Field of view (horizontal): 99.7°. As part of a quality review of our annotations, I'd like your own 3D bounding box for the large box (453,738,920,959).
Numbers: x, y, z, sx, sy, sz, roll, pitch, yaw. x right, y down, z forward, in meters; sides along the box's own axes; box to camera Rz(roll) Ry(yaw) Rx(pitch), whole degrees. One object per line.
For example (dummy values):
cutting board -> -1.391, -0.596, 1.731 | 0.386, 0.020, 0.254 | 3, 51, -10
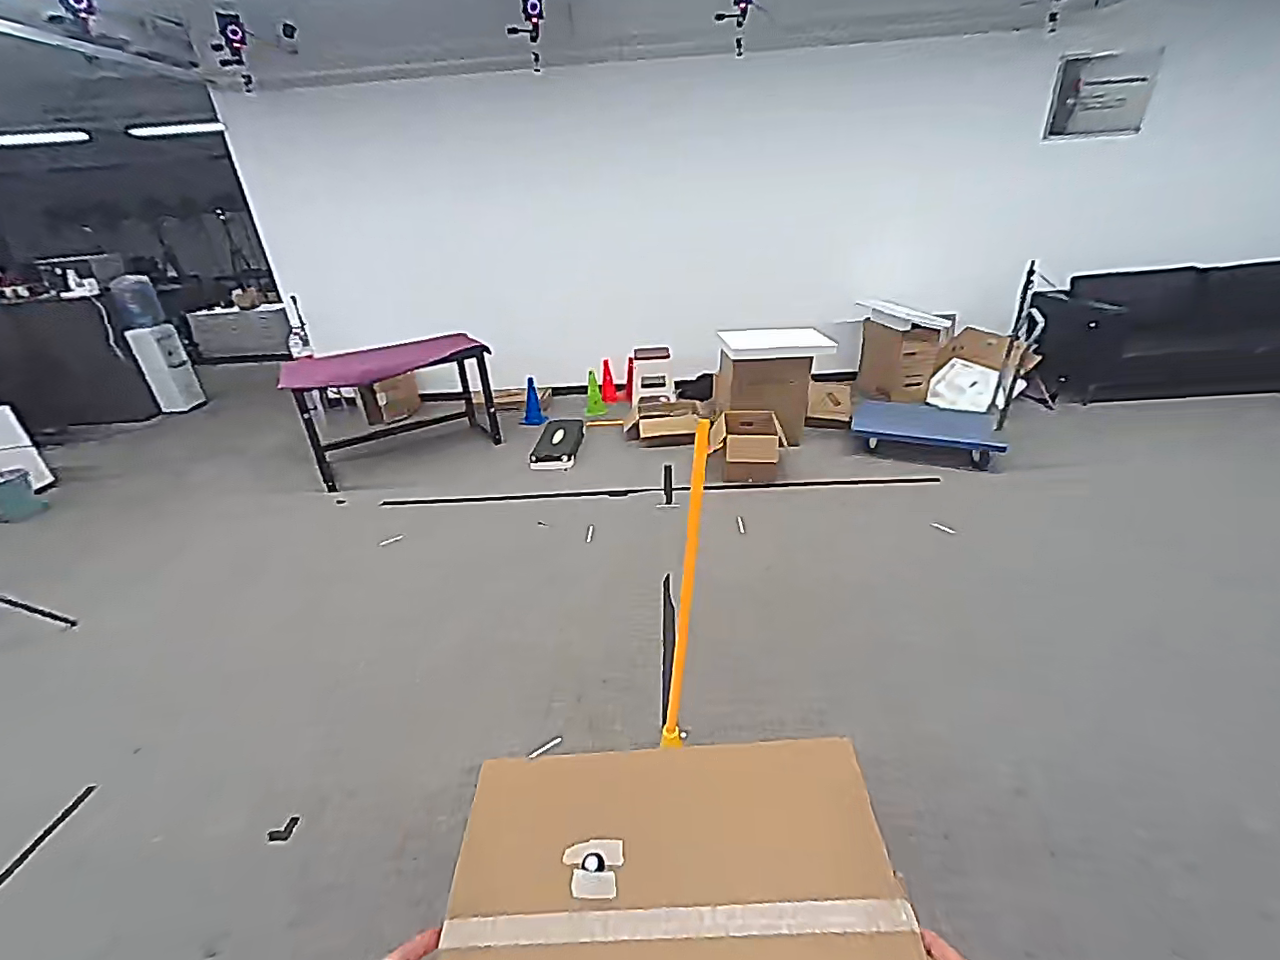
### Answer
large box -> 0.053, 0.513, 0.561 | 0.408, 0.320, 0.320 | -7, 34, 5
